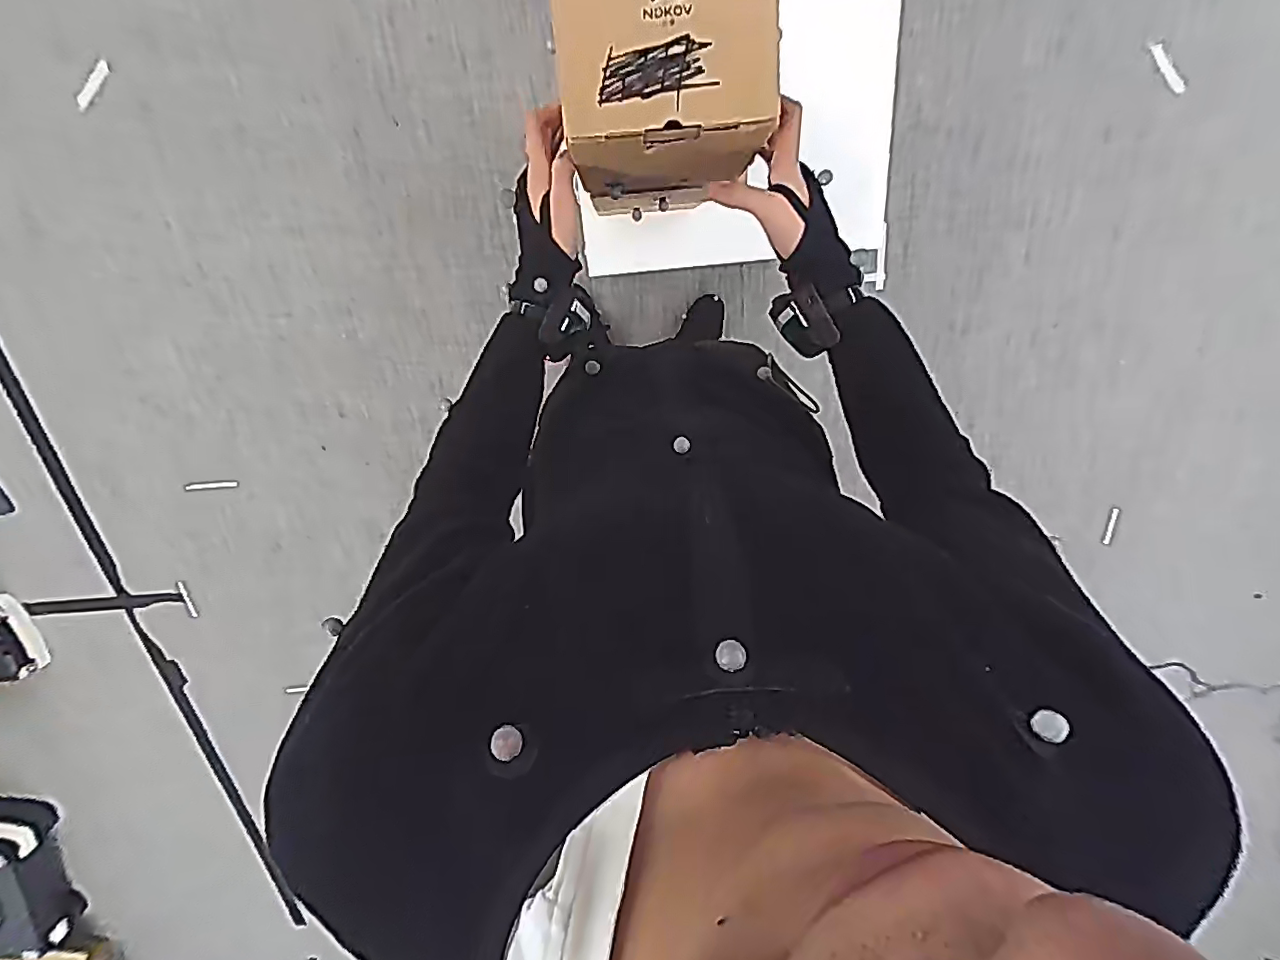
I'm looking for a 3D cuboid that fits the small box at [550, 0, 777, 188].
[{"bbox_3d":[0.017,-0.365,0.465,0.168,0.176,0.179,-5,105,1],"label":"small box"}]

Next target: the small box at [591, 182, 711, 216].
[{"bbox_3d":[0.009,-0.485,0.781,0.168,0.176,0.179,-5,112,-2],"label":"small box"}]
